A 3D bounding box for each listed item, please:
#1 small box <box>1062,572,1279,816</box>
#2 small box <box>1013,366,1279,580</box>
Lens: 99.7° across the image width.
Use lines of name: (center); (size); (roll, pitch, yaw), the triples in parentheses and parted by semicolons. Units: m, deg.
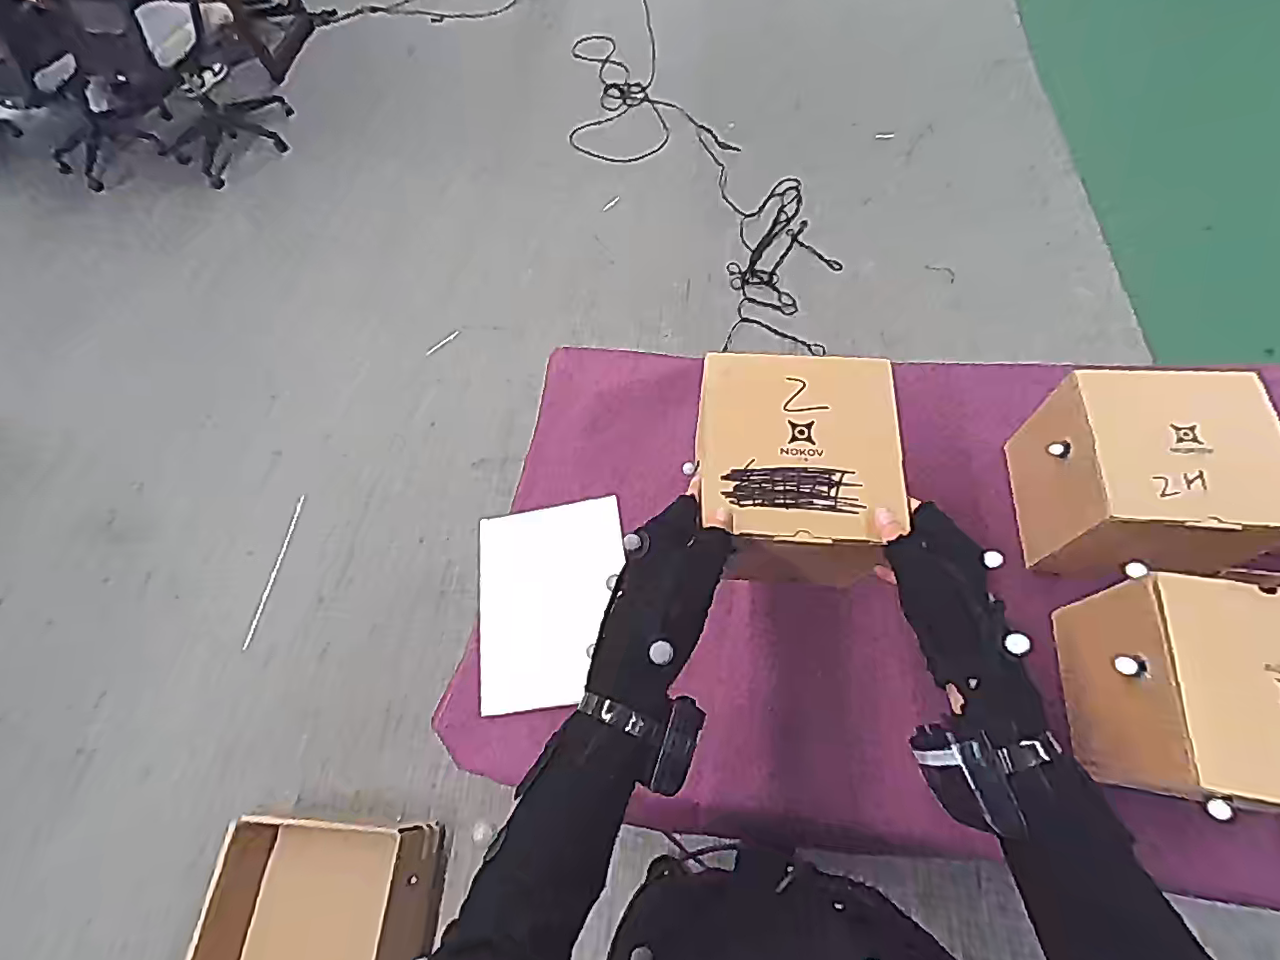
small box: (0.531, 0.201, 0.498); (0.168, 0.176, 0.179); (6, 66, 12)
small box: (0.542, -0.001, 0.593); (0.168, 0.176, 0.179); (4, 65, 11)
